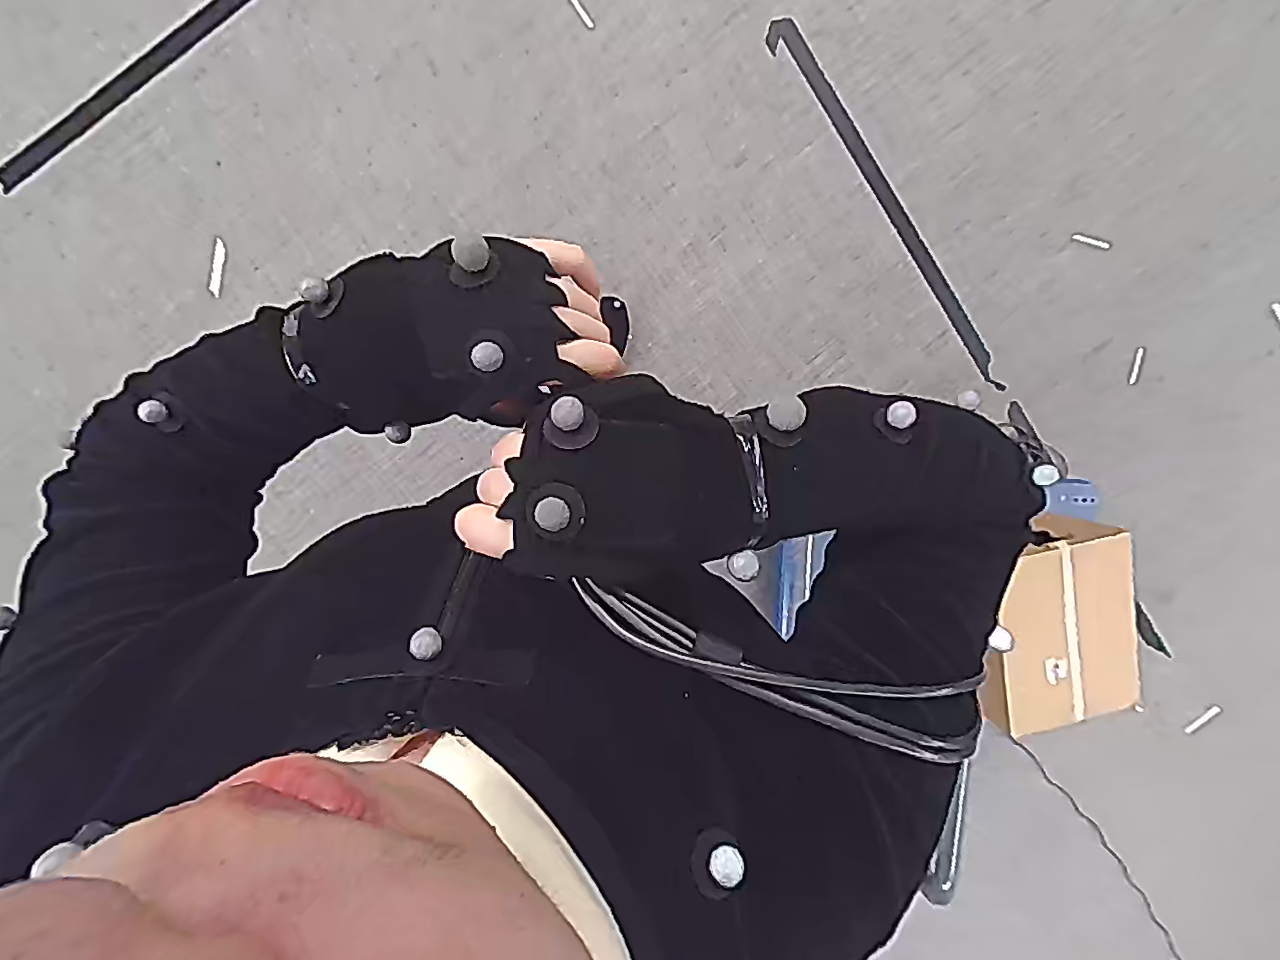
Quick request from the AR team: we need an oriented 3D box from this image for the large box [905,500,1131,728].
[{"bbox_3d":[0.885,0.295,1.297,0.320,0.320,0.408,-11,100,-4],"label":"large box"}]
